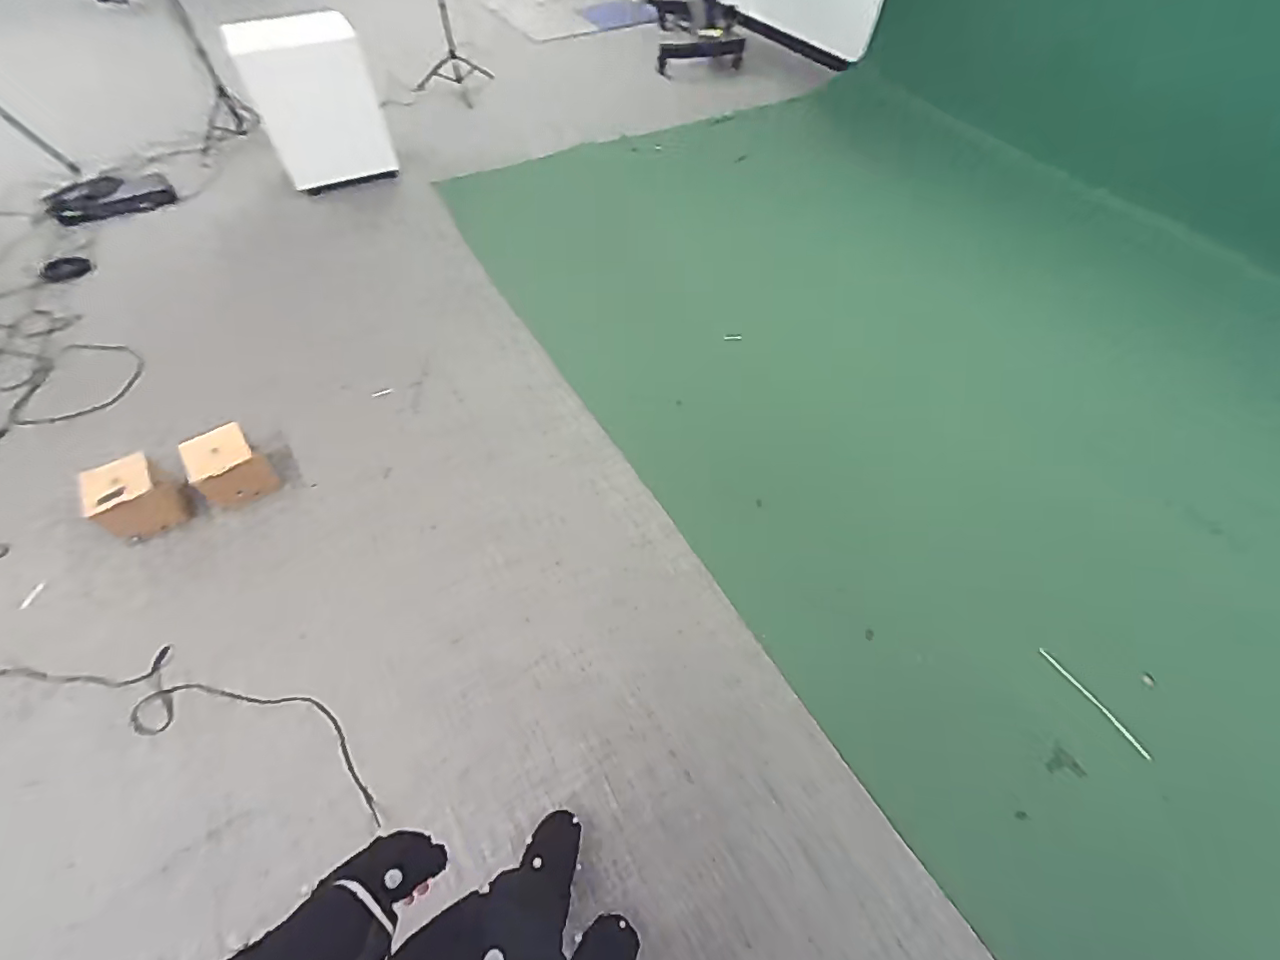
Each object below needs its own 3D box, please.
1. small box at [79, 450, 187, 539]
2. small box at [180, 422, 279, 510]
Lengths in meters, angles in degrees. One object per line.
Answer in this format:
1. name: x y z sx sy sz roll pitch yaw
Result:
1. small box: -1.485 0.052 1.593 0.168 0.176 0.179 -28 60 -20
2. small box: -1.259 -0.041 1.667 0.168 0.176 0.179 -31 63 -21
